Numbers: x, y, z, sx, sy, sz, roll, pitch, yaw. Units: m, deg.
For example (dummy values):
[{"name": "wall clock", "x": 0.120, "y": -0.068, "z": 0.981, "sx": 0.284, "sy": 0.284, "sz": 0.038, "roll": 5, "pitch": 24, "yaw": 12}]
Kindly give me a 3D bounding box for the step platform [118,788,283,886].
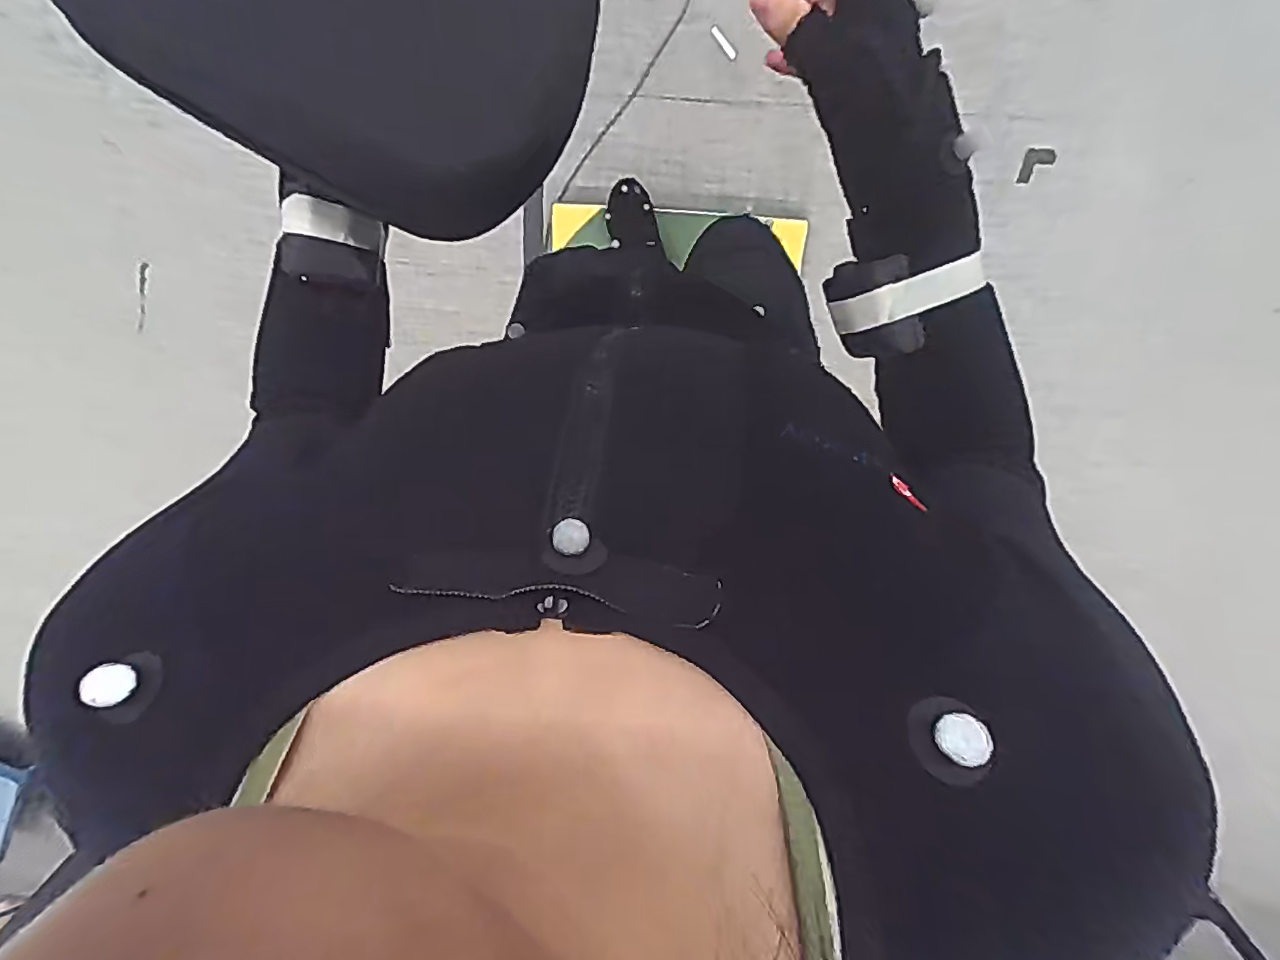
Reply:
[{"name": "step platform", "x": -2.043, "y": 1.665, "z": 2.509, "sx": 0.684, "sy": 0.204, "sz": 0.286, "roll": -22, "pitch": 114, "yaw": 13}]
